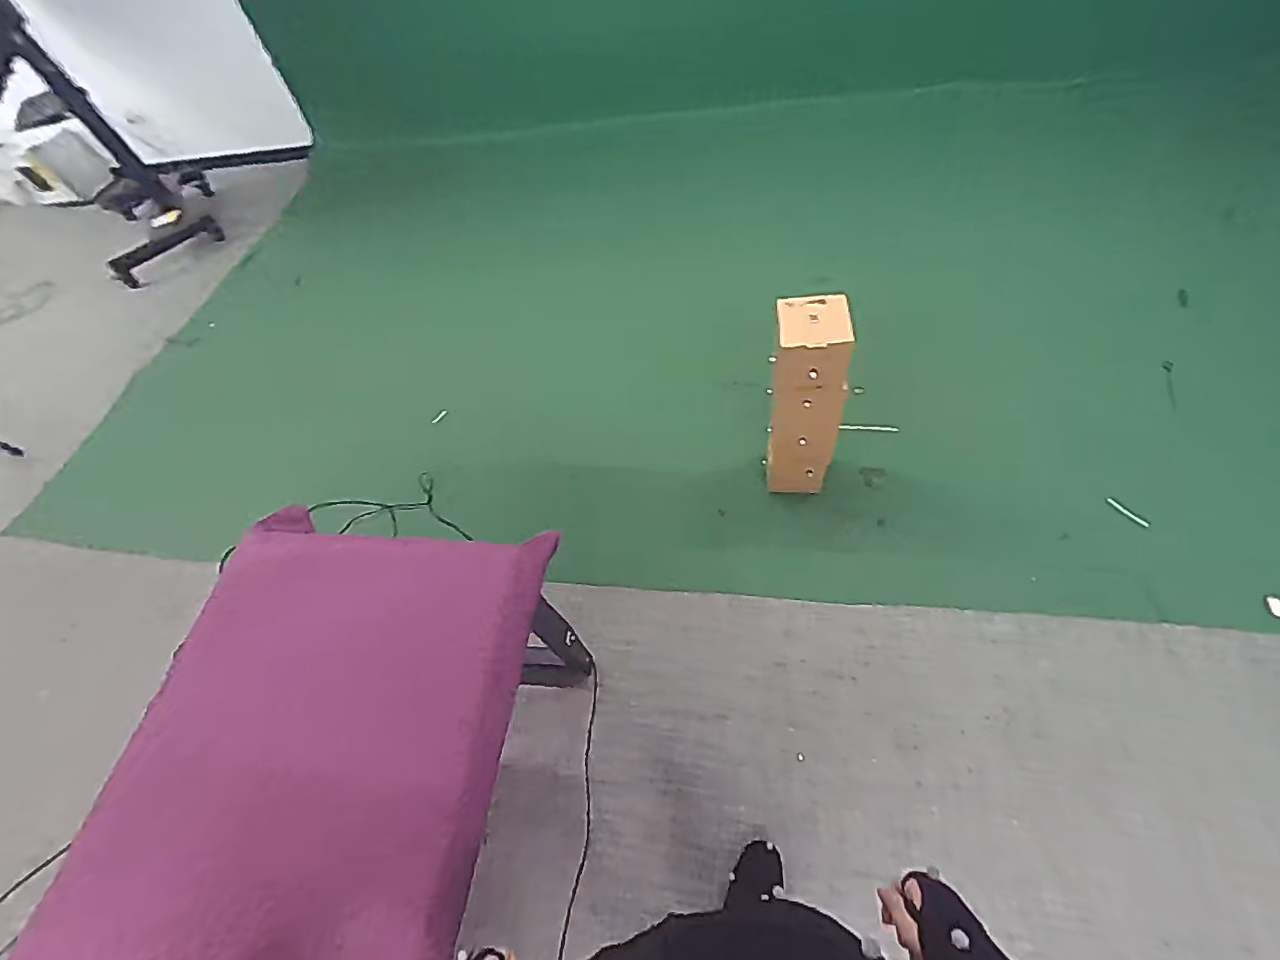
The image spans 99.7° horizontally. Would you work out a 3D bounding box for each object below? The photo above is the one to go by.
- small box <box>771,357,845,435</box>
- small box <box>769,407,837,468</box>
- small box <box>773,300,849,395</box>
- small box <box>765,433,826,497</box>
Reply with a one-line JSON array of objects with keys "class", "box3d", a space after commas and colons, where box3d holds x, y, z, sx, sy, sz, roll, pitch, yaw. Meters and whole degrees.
[{"class": "small box", "box3d": [0.462, -0.240, 1.516, 0.179, 0.176, 0.168, -2, 57, 9]}, {"class": "small box", "box3d": [0.490, -0.148, 1.648, 0.179, 0.176, 0.168, -2, 56, 10]}, {"class": "small box", "box3d": [0.429, -0.331, 1.384, 0.168, 0.176, 0.179, -1, 57, 10]}, {"class": "small box", "box3d": [0.508, -0.056, 1.781, 0.179, 0.176, 0.168, 1, 56, 11]}]
